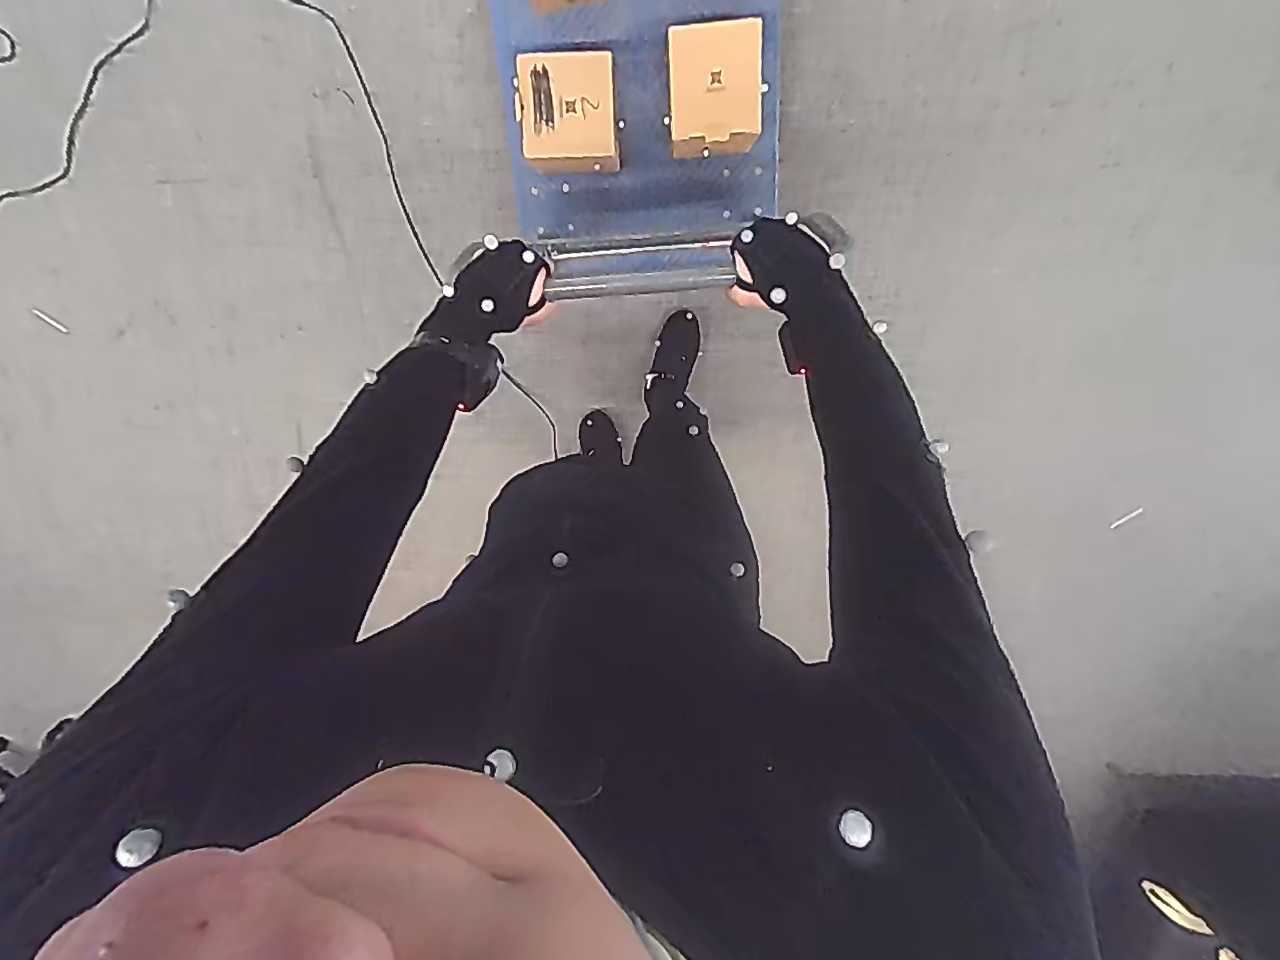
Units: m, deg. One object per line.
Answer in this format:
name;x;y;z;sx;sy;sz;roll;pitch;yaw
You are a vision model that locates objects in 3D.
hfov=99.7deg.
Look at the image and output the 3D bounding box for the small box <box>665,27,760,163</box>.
small box;0.137;-0.741;1.059;0.168;0.176;0.179;-4;111;3
